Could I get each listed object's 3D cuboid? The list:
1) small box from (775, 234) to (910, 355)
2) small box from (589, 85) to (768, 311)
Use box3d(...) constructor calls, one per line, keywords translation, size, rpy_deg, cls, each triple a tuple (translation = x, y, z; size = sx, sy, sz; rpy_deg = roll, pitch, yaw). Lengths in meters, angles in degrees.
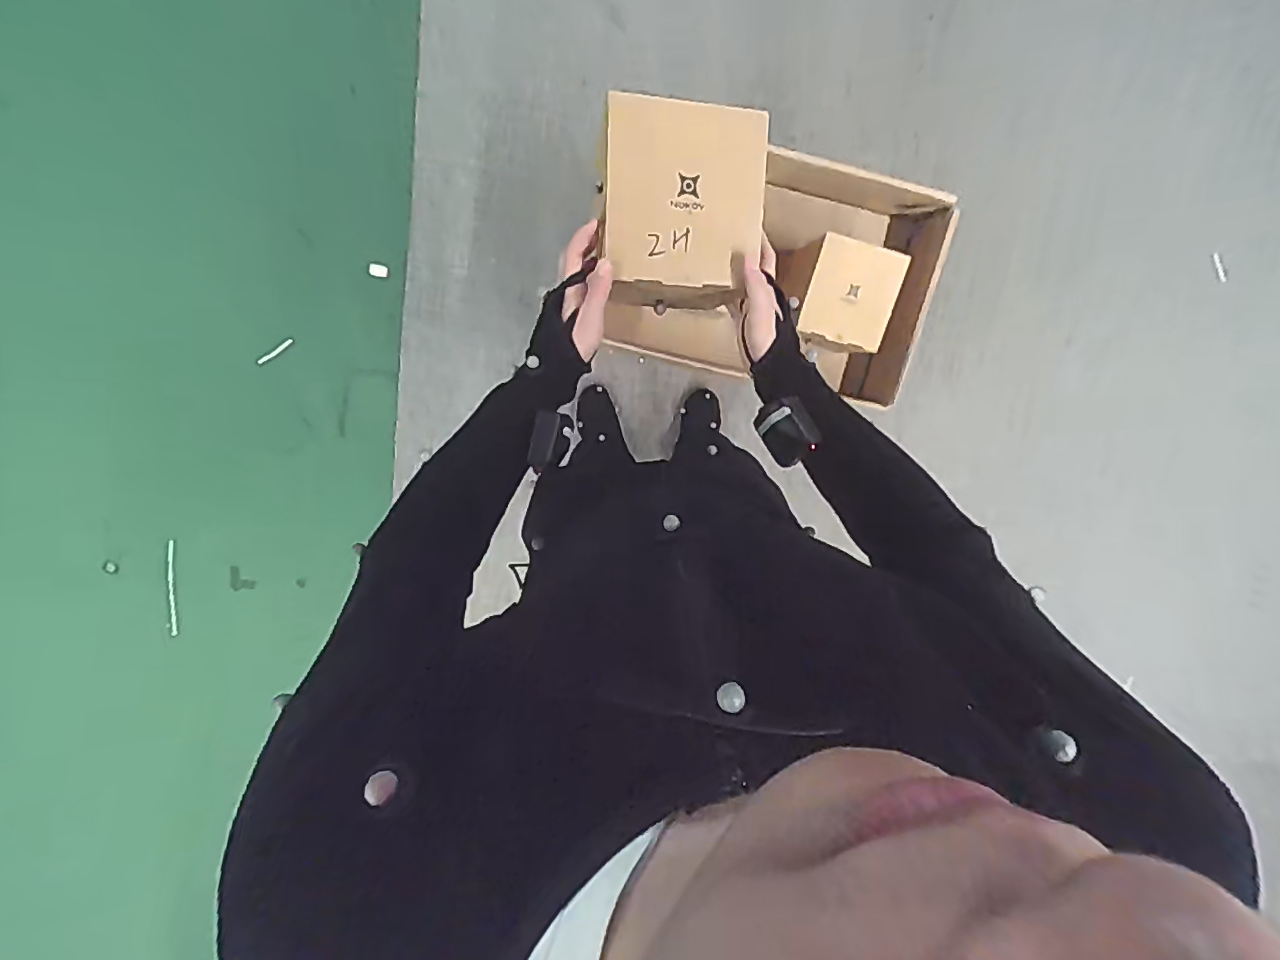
box3d(translation=(0.380, -0.351, 1.052), size=(0.168, 0.176, 0.179), rpy_deg=(14, 103, -6), cls="small box")
box3d(translation=(0.031, -0.300, 0.614), size=(0.168, 0.176, 0.179), rpy_deg=(1, 100, -10), cls="small box")
